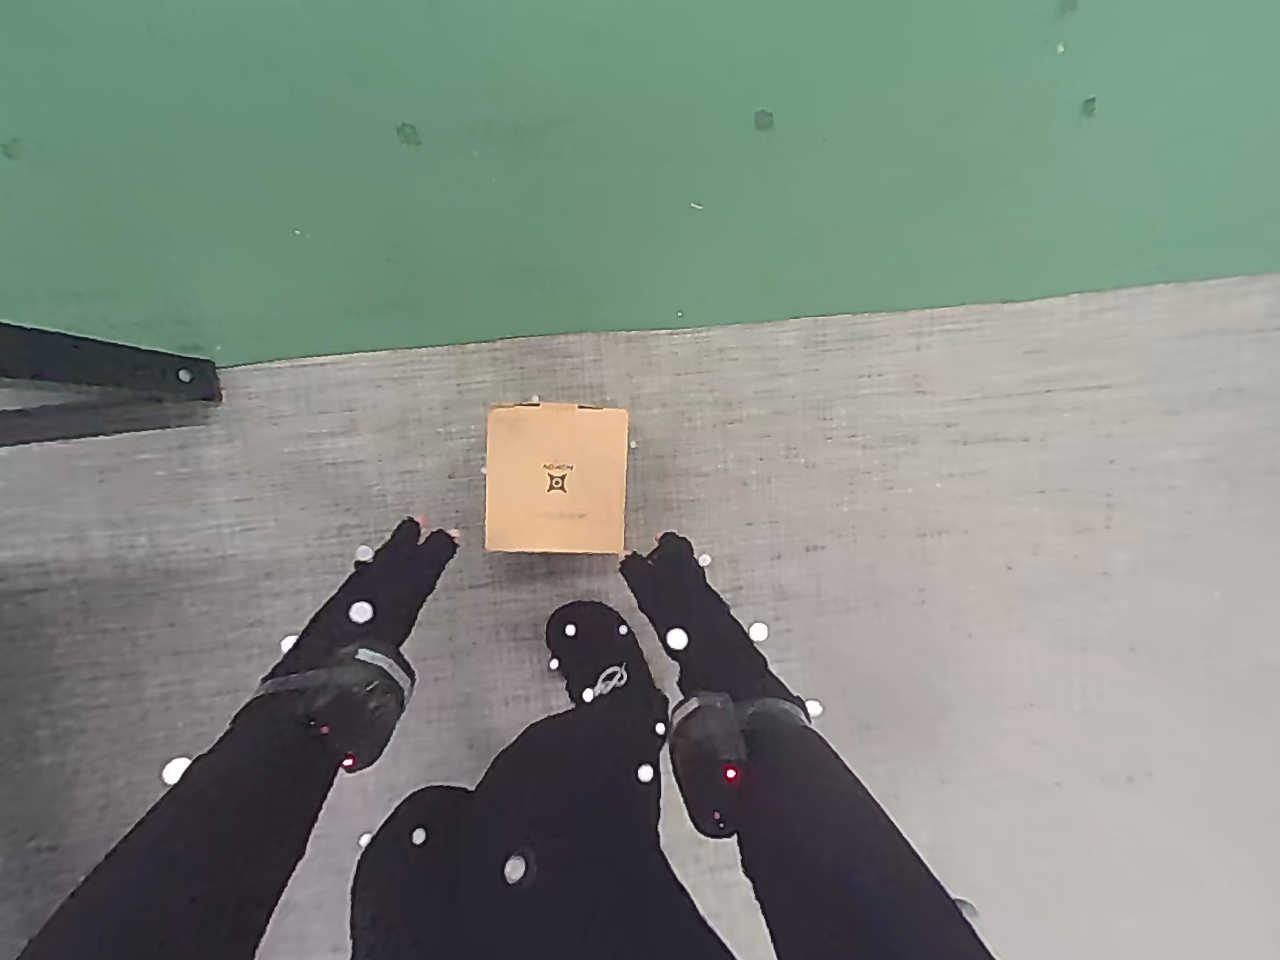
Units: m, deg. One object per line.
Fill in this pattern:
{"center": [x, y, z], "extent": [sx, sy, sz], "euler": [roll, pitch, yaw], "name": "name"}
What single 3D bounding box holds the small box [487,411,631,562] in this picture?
{"center": [-0.101, 0.003, 0.716], "extent": [0.168, 0.176, 0.179], "euler": [2, 95, -3], "name": "small box"}
